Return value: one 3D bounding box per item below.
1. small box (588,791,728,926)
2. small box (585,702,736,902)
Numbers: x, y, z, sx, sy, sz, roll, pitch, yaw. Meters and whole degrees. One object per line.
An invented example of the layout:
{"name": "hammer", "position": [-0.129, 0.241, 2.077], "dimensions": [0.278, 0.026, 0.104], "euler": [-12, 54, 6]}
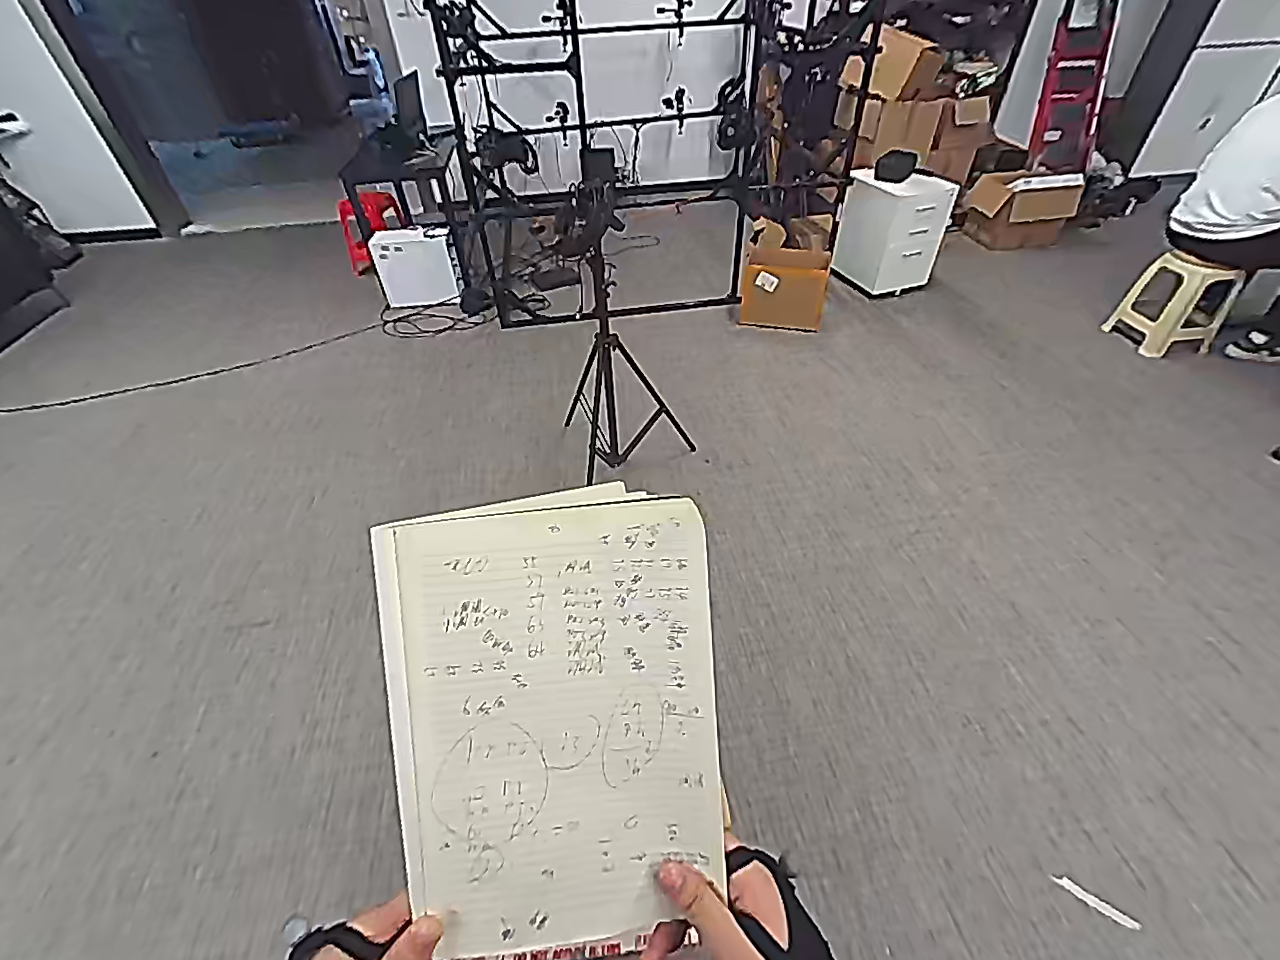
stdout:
{"name": "small box", "position": [0.019, 0.549, 0.823], "dimensions": [0.179, 0.176, 0.168], "euler": [-8, 44, -8]}
{"name": "small box", "position": [0.016, 0.424, 0.716], "dimensions": [0.168, 0.176, 0.179], "euler": [-6, 44, -7]}
